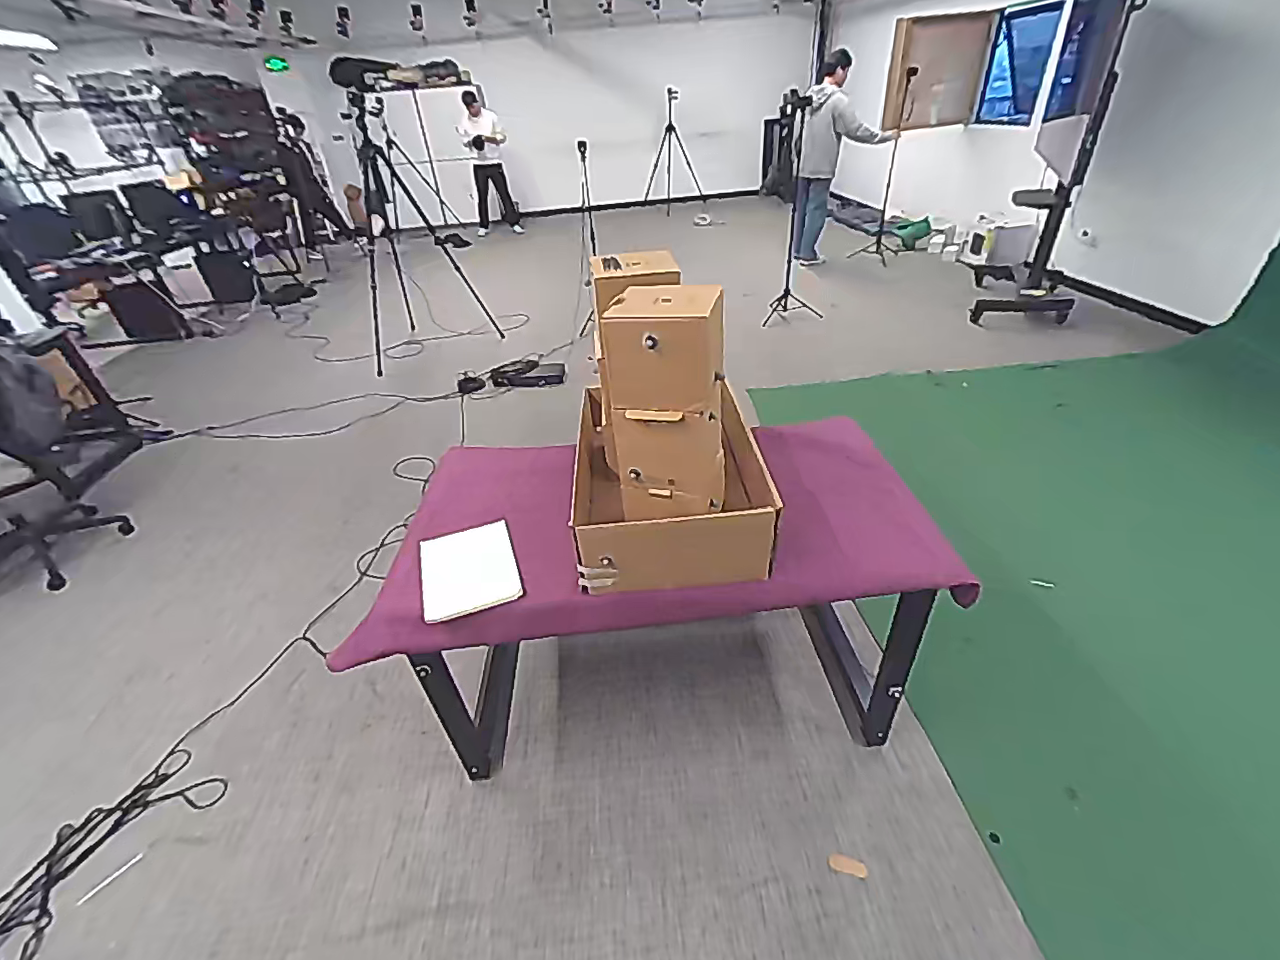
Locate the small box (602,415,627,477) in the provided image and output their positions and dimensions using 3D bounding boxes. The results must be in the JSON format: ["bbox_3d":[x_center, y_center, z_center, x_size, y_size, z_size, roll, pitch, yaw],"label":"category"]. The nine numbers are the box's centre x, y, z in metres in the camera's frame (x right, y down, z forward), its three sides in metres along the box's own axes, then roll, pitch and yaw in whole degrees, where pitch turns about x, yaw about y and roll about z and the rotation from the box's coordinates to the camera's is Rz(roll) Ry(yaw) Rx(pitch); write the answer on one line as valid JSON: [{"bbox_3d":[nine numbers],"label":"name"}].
[{"bbox_3d":[-0.003,-0.117,1.366,0.168,0.176,0.179,-5,37,0],"label":"small box"}]

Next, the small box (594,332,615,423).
[{"bbox_3d":[-0.009,-0.246,1.268,0.179,0.176,0.168,-6,37,-2],"label":"small box"}]

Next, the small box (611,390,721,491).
[{"bbox_3d":[0.060,-0.096,1.037,0.168,0.176,0.179,6,36,18],"label":"small box"}]

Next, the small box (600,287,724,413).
[{"bbox_3d":[0.047,-0.228,0.942,0.179,0.176,0.168,5,36,16],"label":"small box"}]
